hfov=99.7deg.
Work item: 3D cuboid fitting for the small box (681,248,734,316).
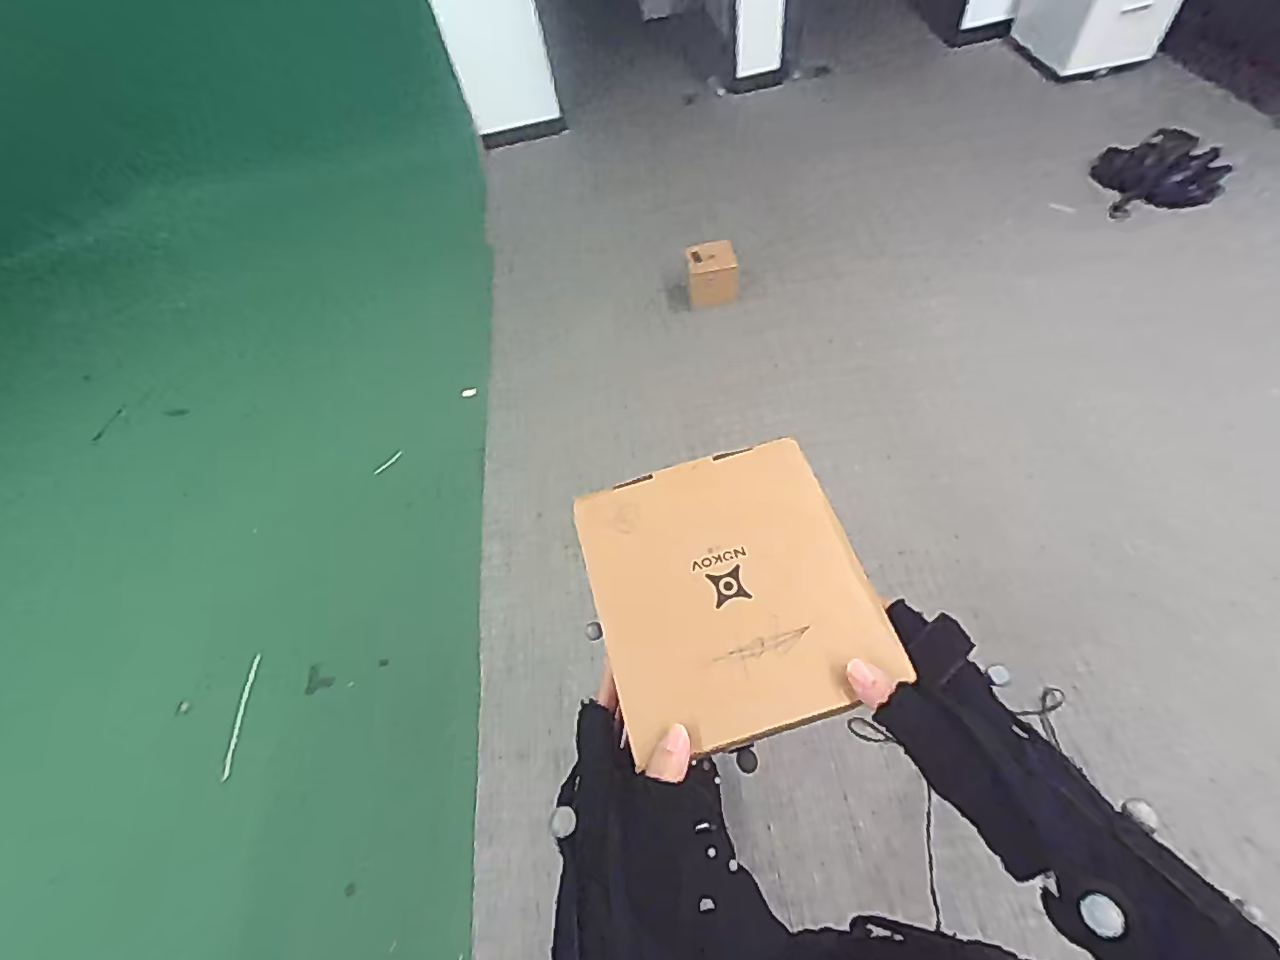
[{"bbox_3d":[0.261,-0.753,2.067,0.179,0.176,0.168,-10,57,3],"label":"small box"}]

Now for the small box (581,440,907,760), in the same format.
[{"bbox_3d":[0.060,0.100,0.415,0.168,0.176,0.179,-15,62,-3],"label":"small box"}]
